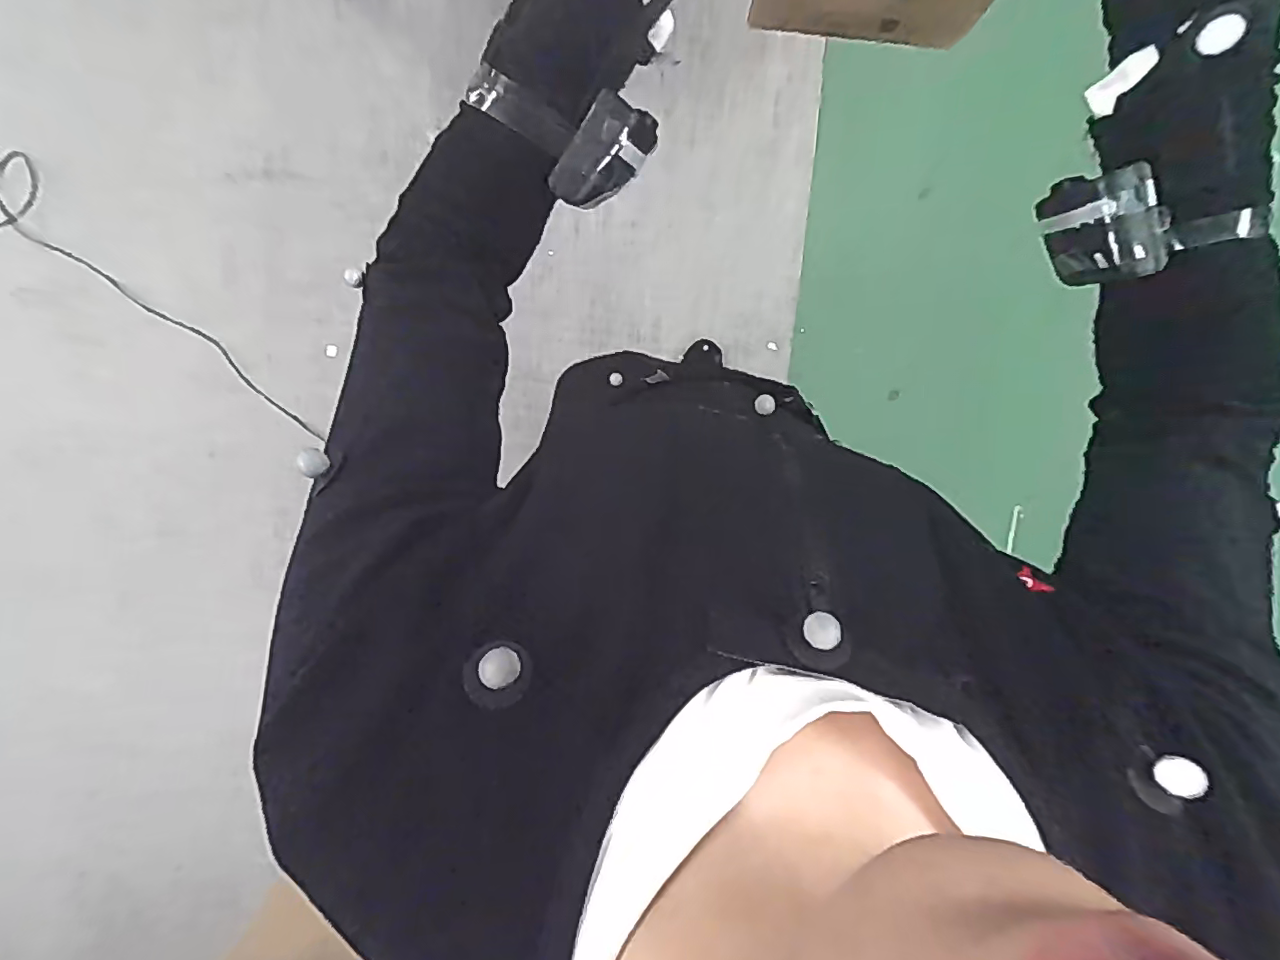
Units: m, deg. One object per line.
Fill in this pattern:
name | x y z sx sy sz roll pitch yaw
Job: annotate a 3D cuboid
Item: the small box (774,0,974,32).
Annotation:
small box | 0.172 -0.425 0.331 0.168 0.176 0.179 7 100 1
